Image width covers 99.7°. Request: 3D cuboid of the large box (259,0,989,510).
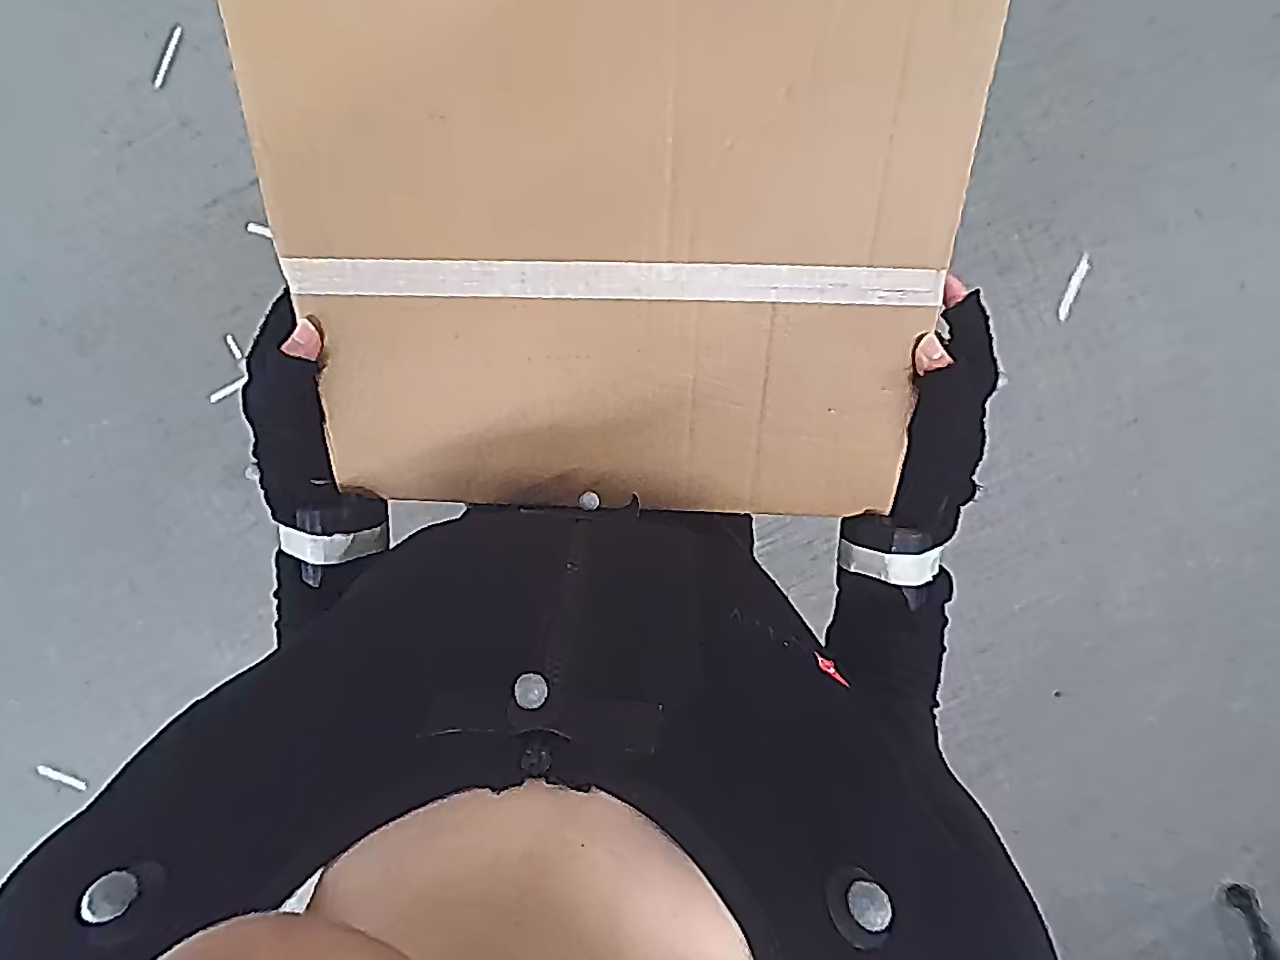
[{"bbox_3d":[-0.010,-0.179,0.485,0.408,0.320,0.320,1,115,2],"label":"large box"}]
